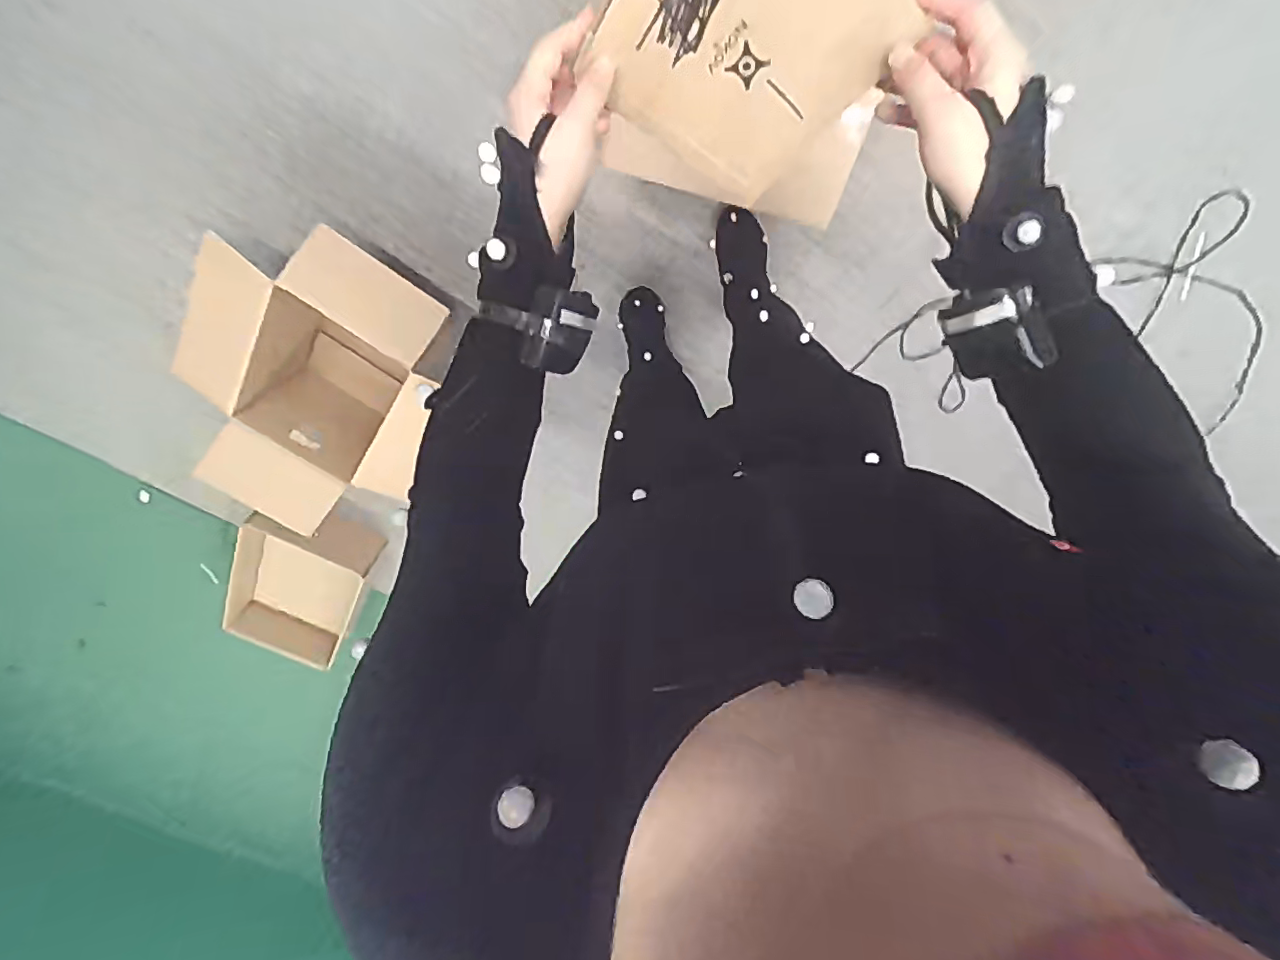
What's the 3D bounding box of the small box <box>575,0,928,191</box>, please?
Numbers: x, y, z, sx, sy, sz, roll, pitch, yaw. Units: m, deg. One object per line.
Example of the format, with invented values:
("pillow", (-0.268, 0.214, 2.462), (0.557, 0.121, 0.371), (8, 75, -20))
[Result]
("small box", (0.076, -0.370, 0.395), (0.179, 0.176, 0.168), (19, 154, -28))
